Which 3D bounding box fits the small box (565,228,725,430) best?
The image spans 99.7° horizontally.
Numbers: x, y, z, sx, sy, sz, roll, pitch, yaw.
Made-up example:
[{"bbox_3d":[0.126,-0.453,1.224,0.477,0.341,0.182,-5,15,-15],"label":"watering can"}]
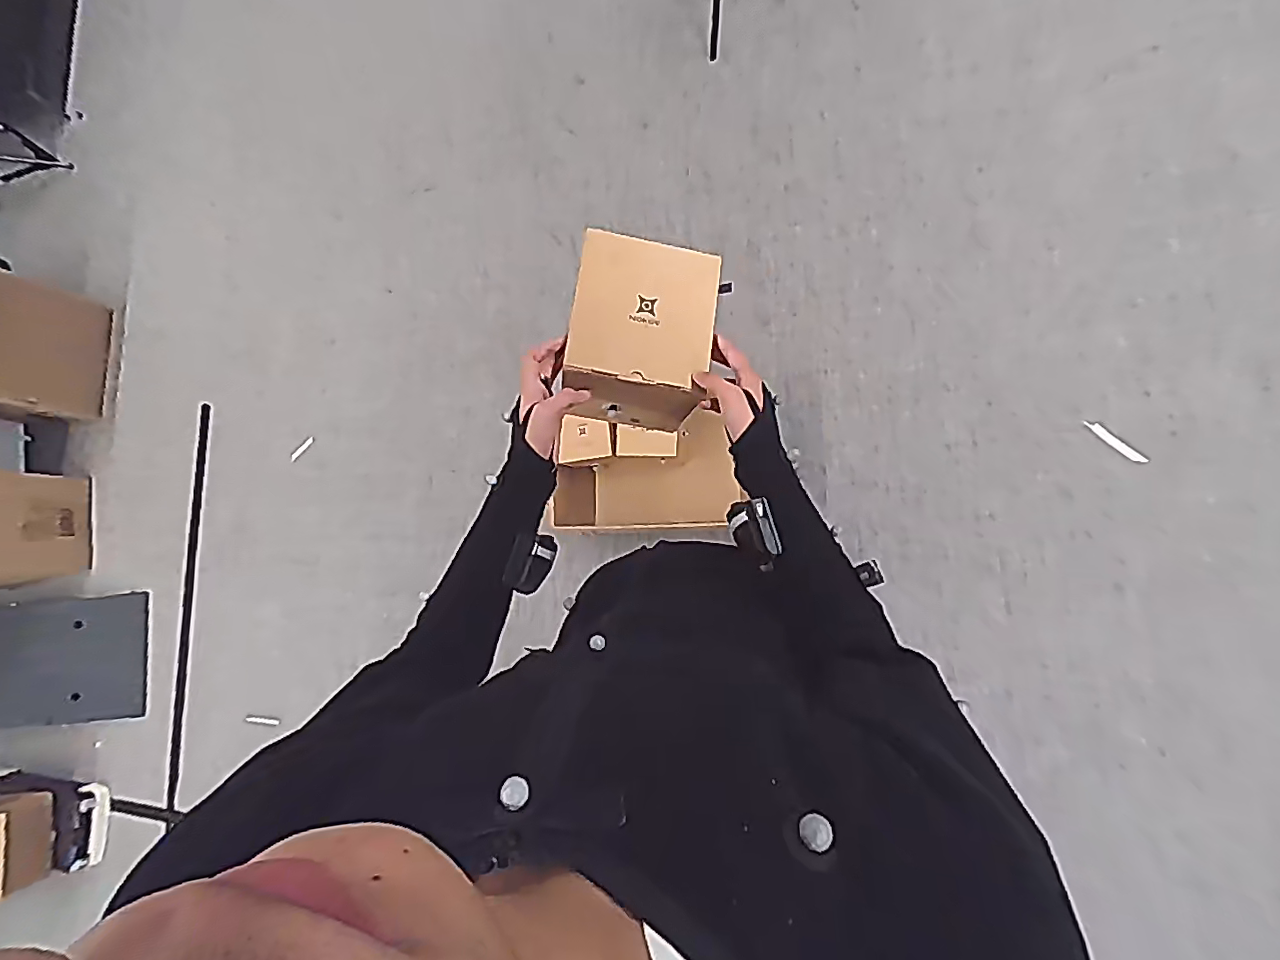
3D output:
[{"bbox_3d":[-0.003,-0.179,0.691,0.168,0.176,0.179,9,79,-8],"label":"small box"}]
